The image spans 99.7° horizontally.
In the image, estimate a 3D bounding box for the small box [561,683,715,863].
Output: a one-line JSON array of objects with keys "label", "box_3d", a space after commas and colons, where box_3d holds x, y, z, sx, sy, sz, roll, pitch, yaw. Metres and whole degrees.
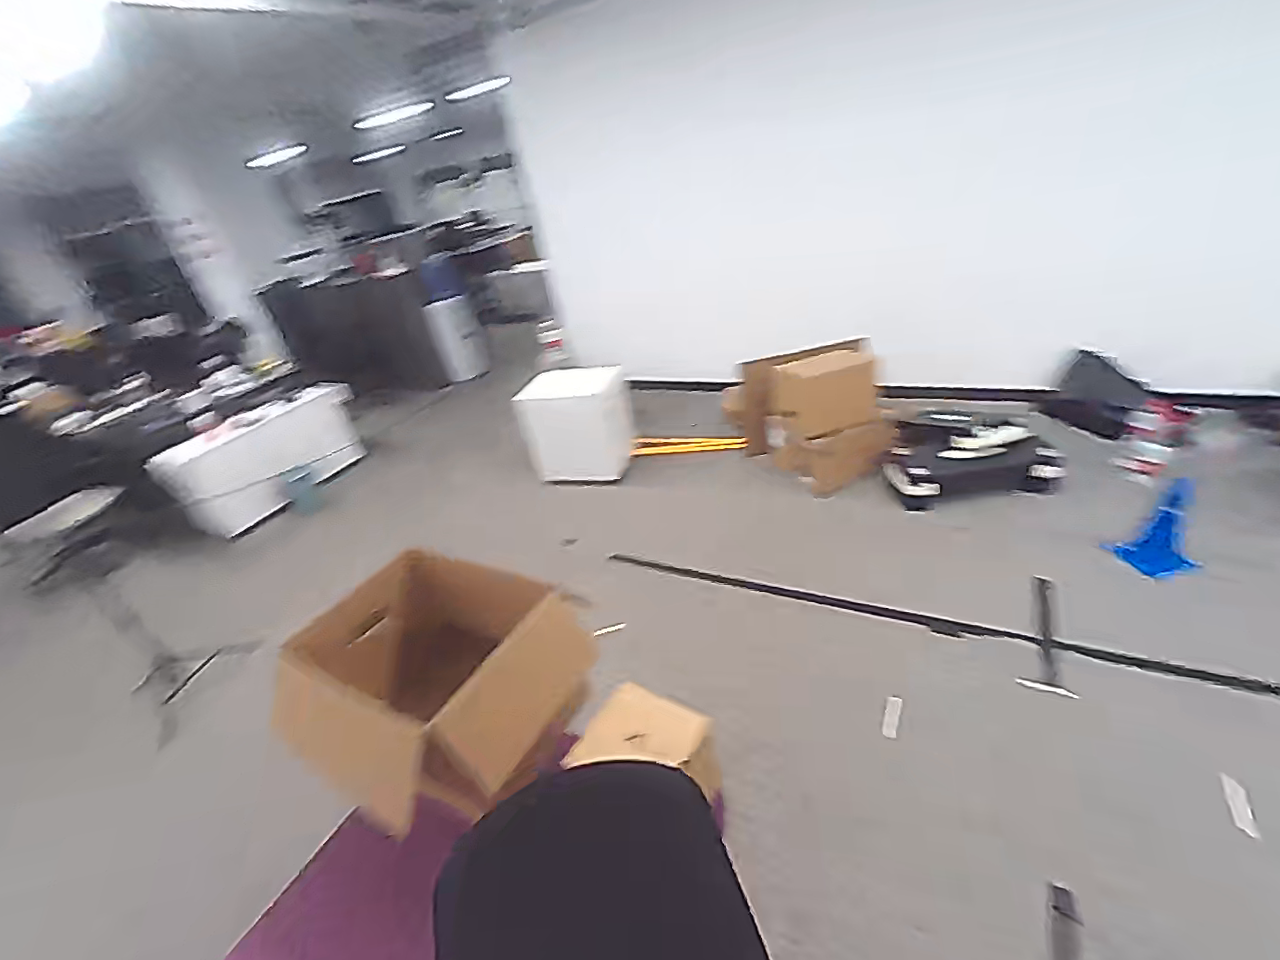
[{"label": "small box", "box_3d": [0.004, 0.476, 0.886, 0.179, 0.176, 0.168, 11, 39, 34]}]
